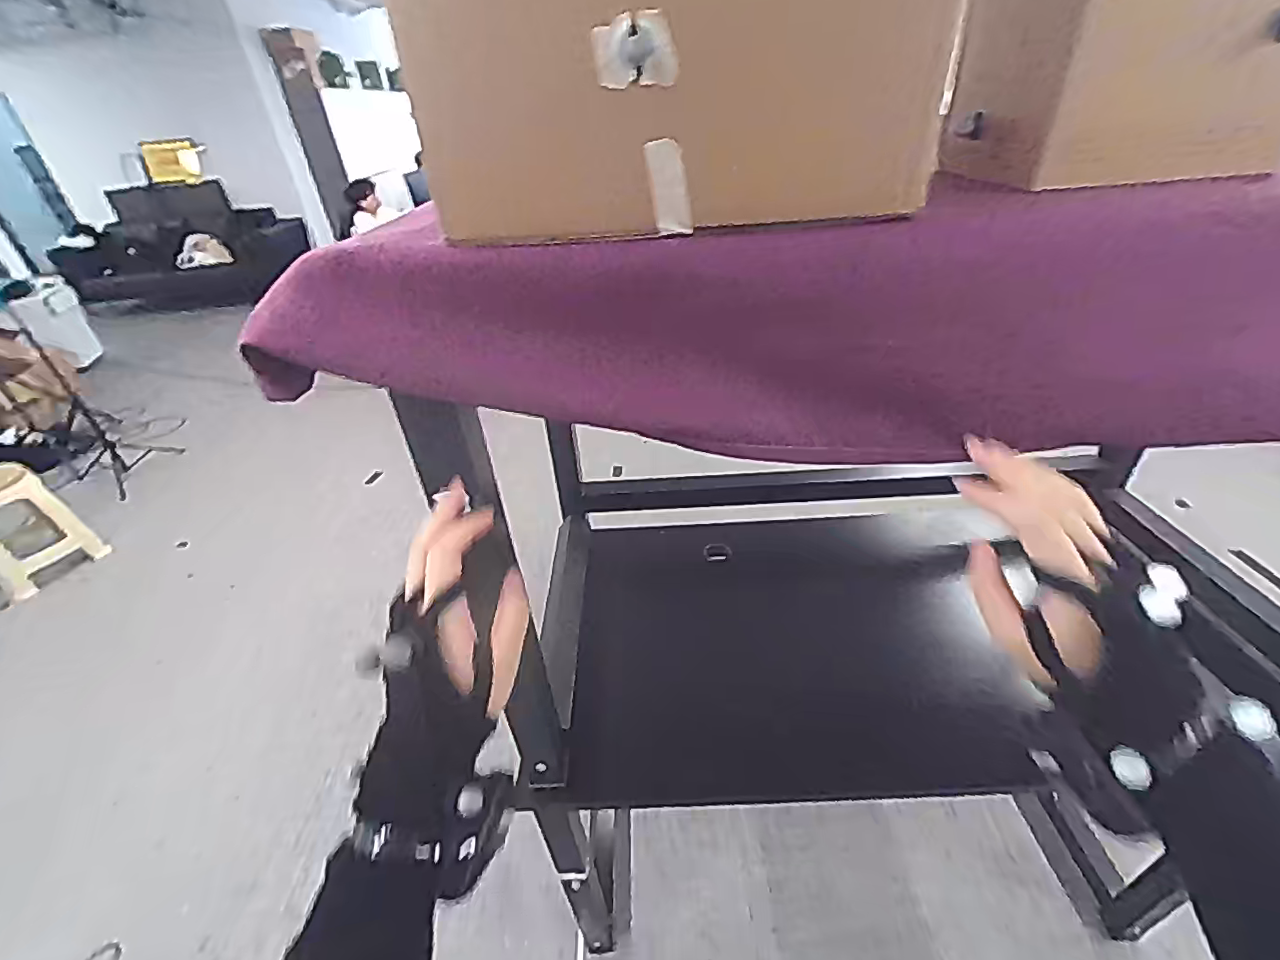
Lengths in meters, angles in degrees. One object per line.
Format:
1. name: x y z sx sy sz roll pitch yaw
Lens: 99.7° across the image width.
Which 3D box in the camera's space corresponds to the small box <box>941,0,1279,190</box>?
1. small box: 0.367 -0.331 0.412 0.179 0.176 0.168 -4 34 3
